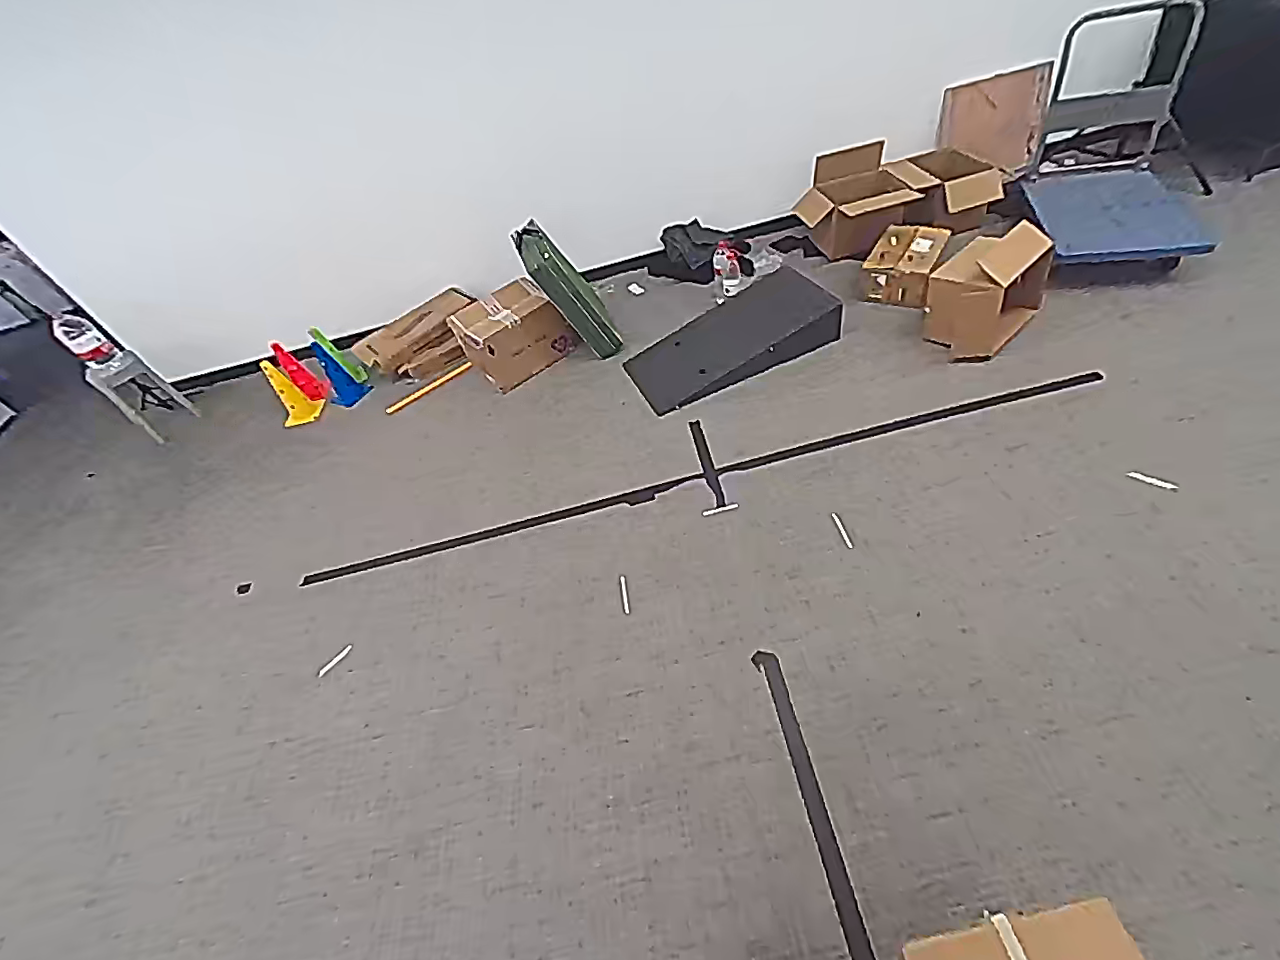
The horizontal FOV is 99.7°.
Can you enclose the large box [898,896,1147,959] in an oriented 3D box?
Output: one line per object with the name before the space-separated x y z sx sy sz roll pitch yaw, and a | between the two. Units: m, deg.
large box | 0.636 0.905 0.800 0.320 0.320 0.408 -20 47 7
